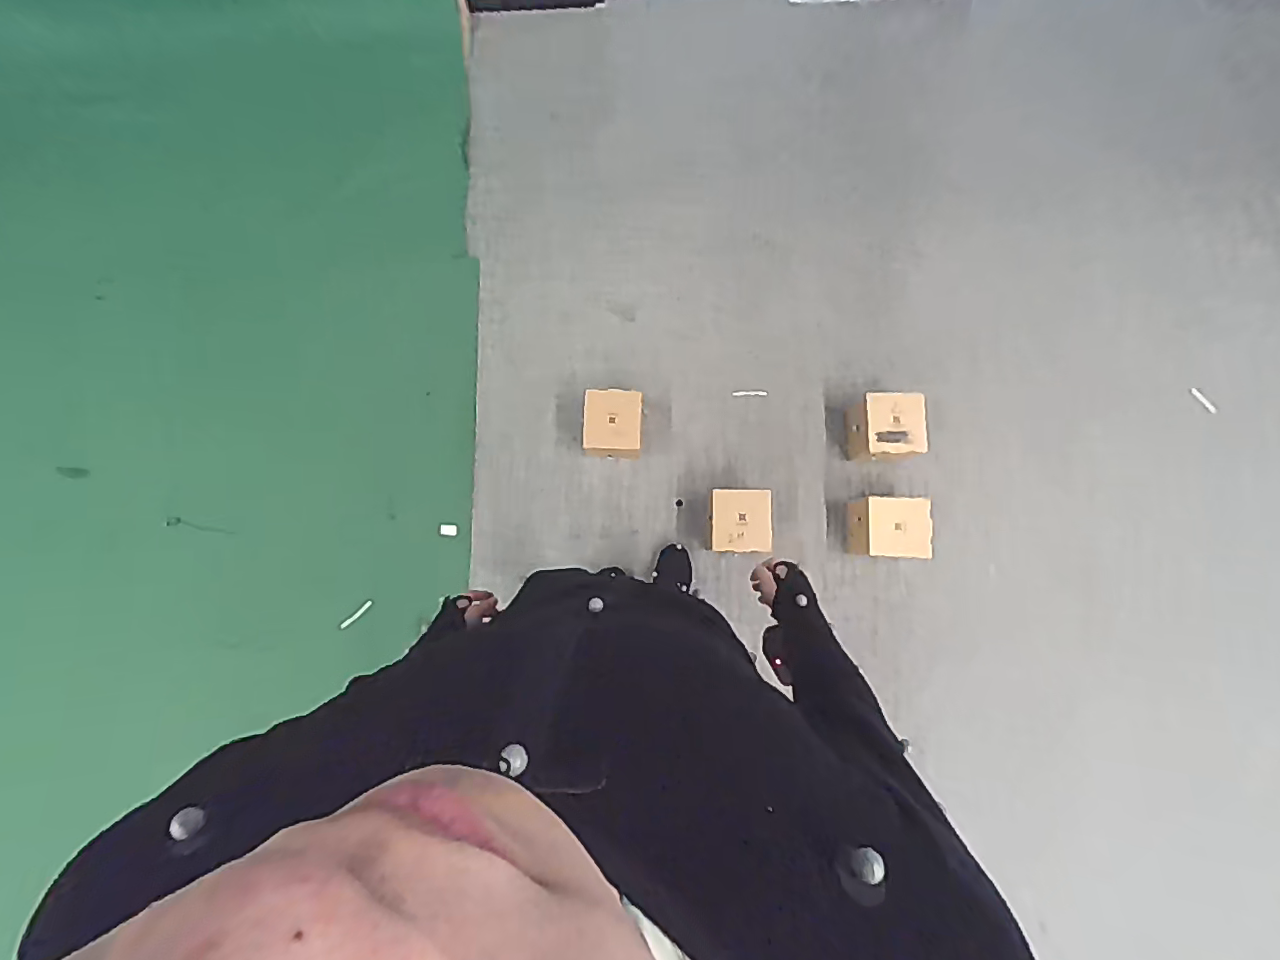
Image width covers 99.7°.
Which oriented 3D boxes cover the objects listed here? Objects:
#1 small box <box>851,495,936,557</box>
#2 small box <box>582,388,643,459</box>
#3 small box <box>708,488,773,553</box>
[{"bbox_3d":[0.720,0.136,1.558,0.179,0.176,0.168,1,83,1],"label":"small box"},{"bbox_3d":[-0.077,-0.166,1.616,0.168,0.176,0.179,2,83,2],"label":"small box"},{"bbox_3d":[0.286,0.120,1.568,0.168,0.176,0.179,1,83,2],"label":"small box"}]
